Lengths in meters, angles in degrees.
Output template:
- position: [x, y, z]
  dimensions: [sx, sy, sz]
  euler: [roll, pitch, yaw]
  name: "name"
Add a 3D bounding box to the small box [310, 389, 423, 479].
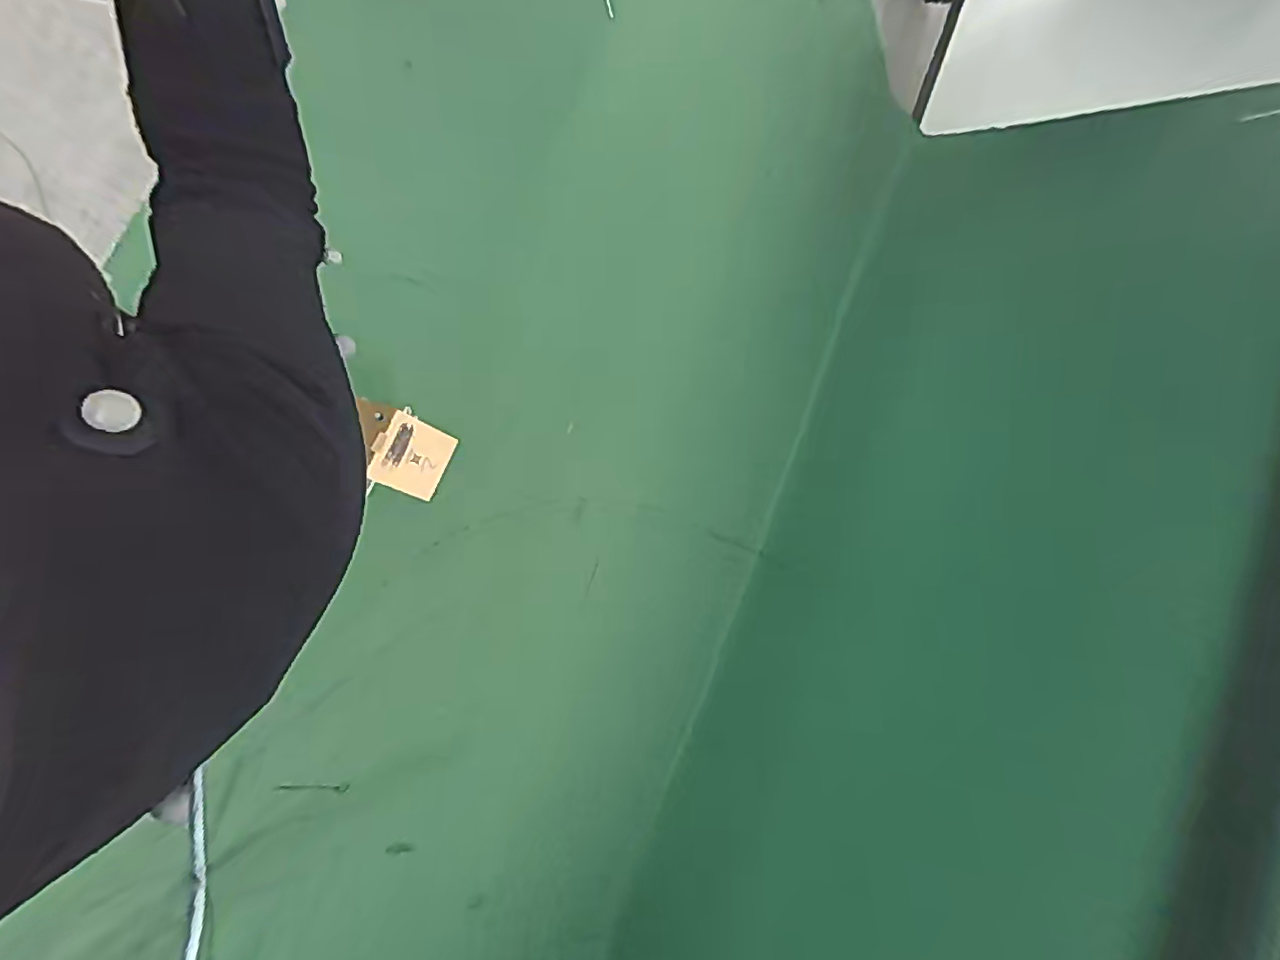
- position: [-0.706, -0.122, 1.391]
  dimensions: [0.179, 0.176, 0.168]
  euler: [34, 77, -51]
  name: "small box"
